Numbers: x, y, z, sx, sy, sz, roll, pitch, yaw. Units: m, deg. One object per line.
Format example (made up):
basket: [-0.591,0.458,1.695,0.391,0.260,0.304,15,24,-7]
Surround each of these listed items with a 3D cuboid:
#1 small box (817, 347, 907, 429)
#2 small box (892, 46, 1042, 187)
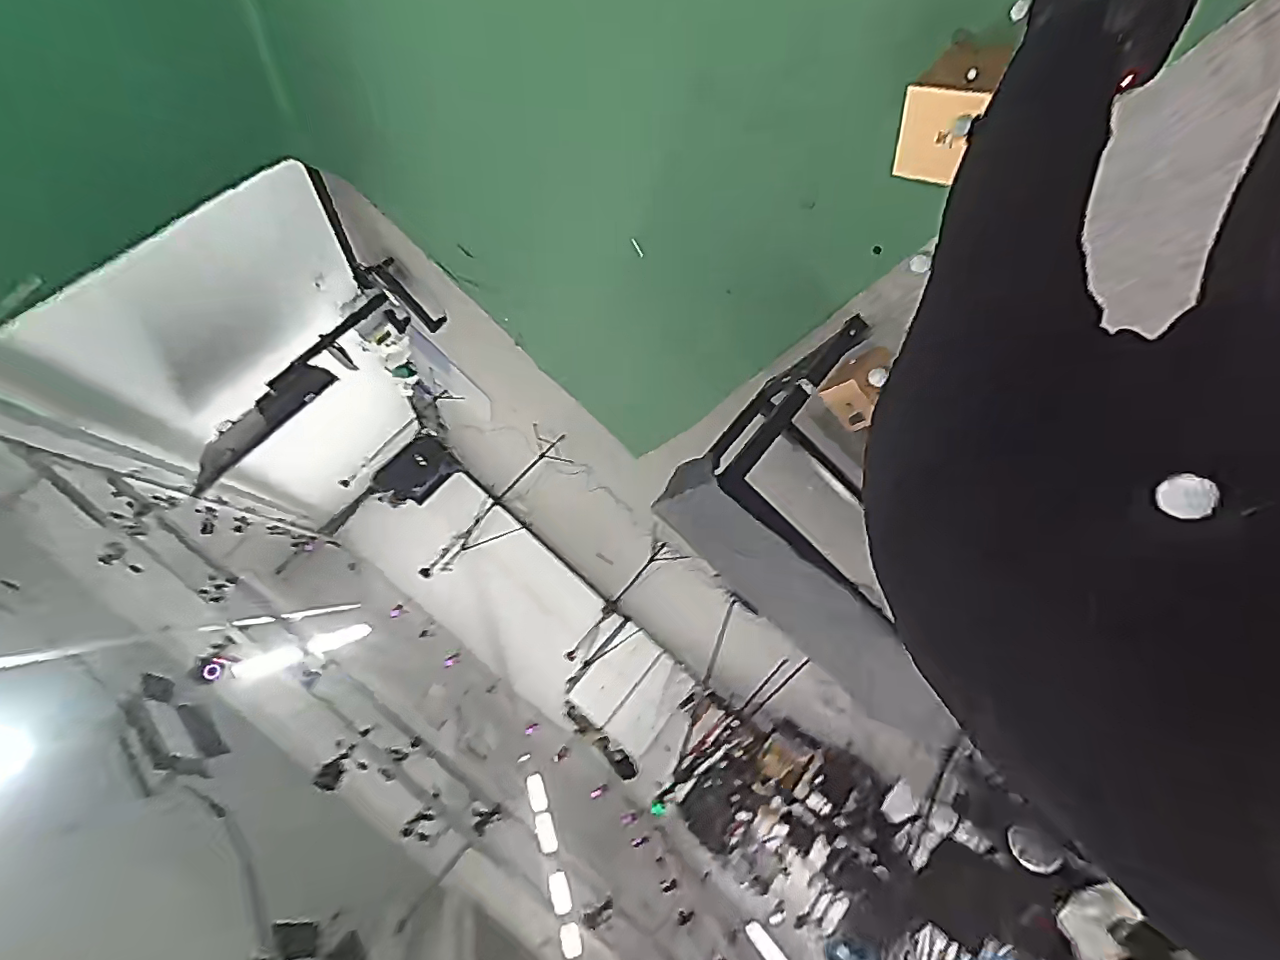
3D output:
small box: [0.724,-0.297,1.753,0.179,0.176,0.168,46,160,-10]
small box: [0.626,-0.707,1.048,0.179,0.176,0.168,30,158,29]
